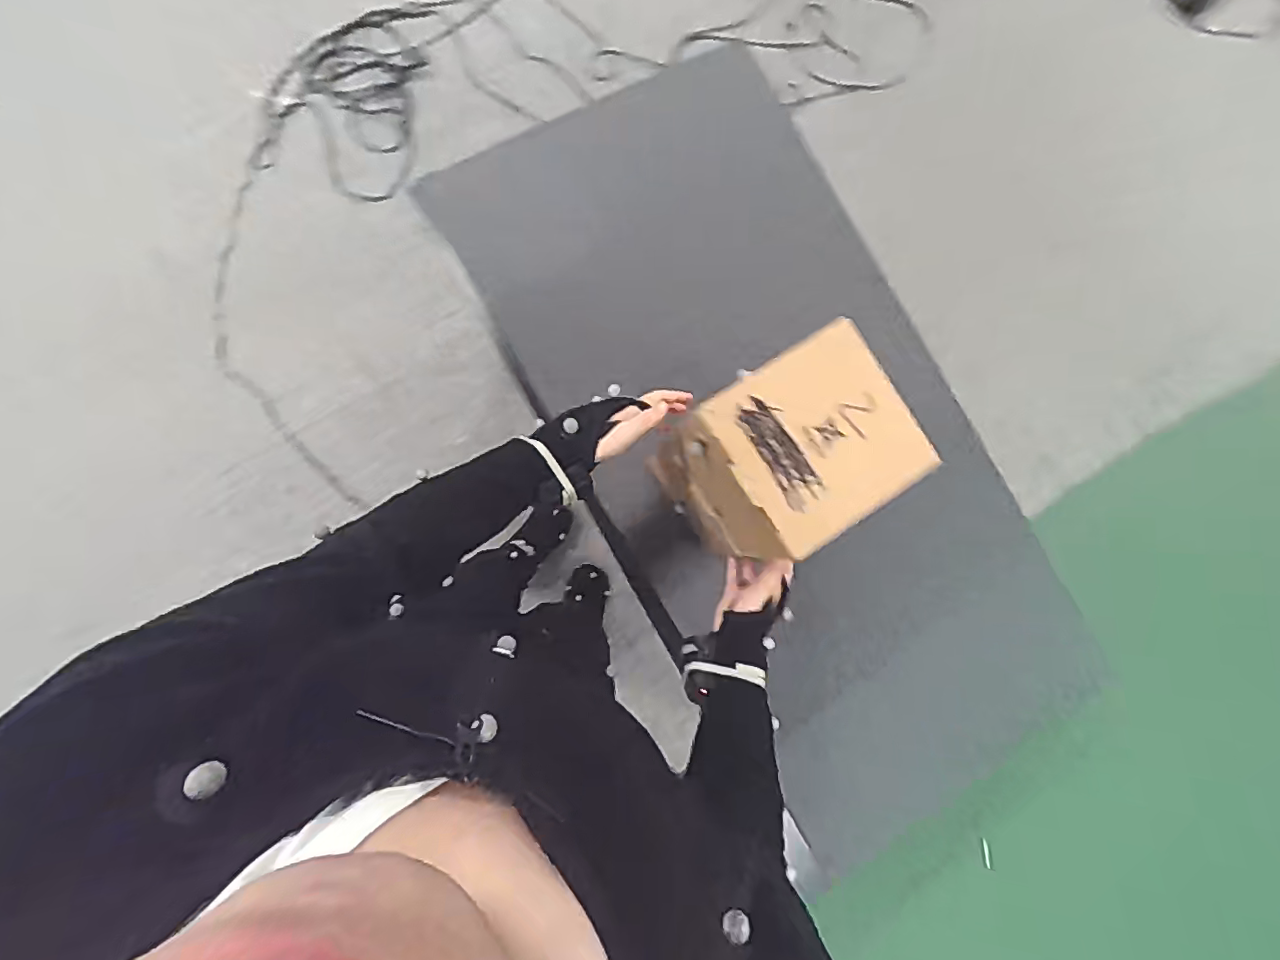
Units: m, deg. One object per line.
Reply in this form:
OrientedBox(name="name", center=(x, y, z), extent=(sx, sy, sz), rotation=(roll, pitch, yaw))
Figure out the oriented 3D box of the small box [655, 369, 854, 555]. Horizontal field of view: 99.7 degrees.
OrientedBox(name="small box", center=(0.139, -0.017, 0.724), extent=(0.179, 0.176, 0.168), rotation=(-33, 88, -8))
